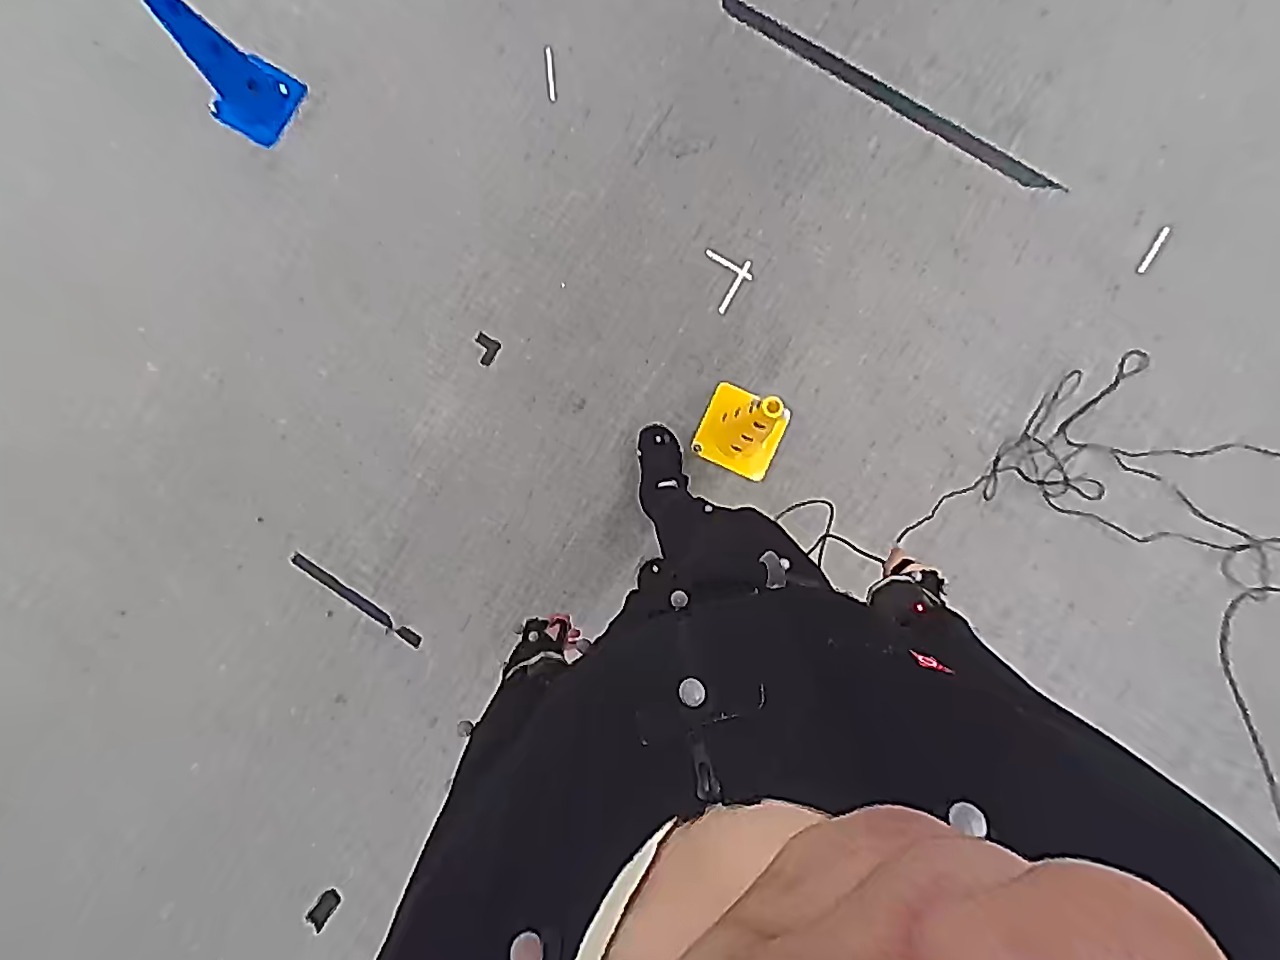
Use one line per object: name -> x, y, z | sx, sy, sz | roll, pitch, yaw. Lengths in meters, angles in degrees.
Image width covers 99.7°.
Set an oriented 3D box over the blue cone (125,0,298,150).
blue cone -> -1.018, -0.988, 1.259 | 0.193, 0.380, 0.192 | 32, 90, 2
